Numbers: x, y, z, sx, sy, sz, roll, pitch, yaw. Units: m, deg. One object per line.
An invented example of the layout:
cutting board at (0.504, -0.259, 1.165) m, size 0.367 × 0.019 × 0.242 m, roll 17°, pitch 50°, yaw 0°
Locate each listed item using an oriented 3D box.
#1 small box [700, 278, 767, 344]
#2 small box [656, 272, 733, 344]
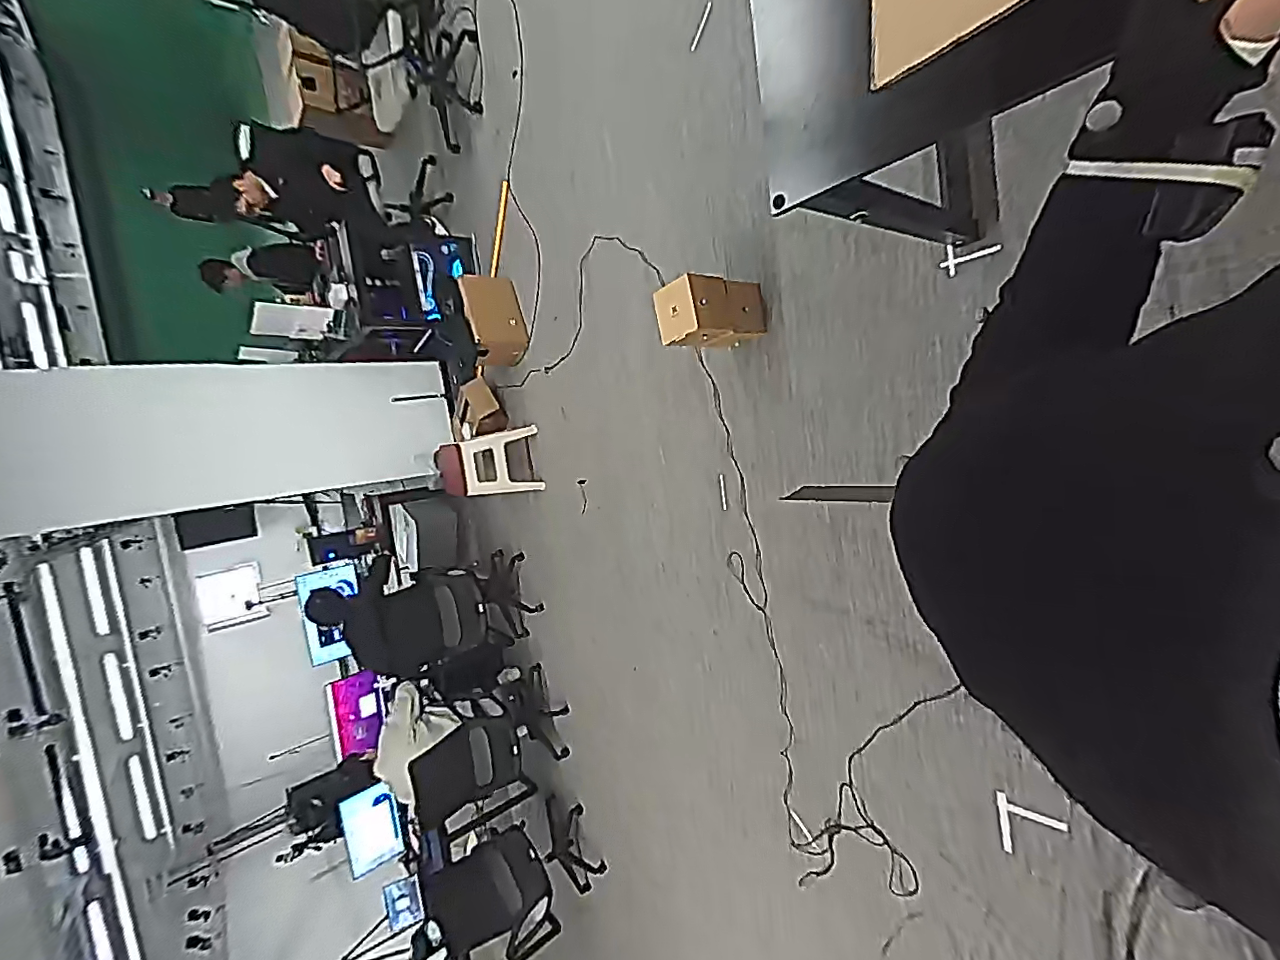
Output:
small box at (0.305, -0.564, 1.826) m, size 0.168 × 0.176 × 0.179 m, roll -7°, pitch 95°, yaw 52°
small box at (0.178, -0.545, 1.726) m, size 0.168 × 0.176 × 0.179 m, roll -11°, pitch 90°, yaw 51°
